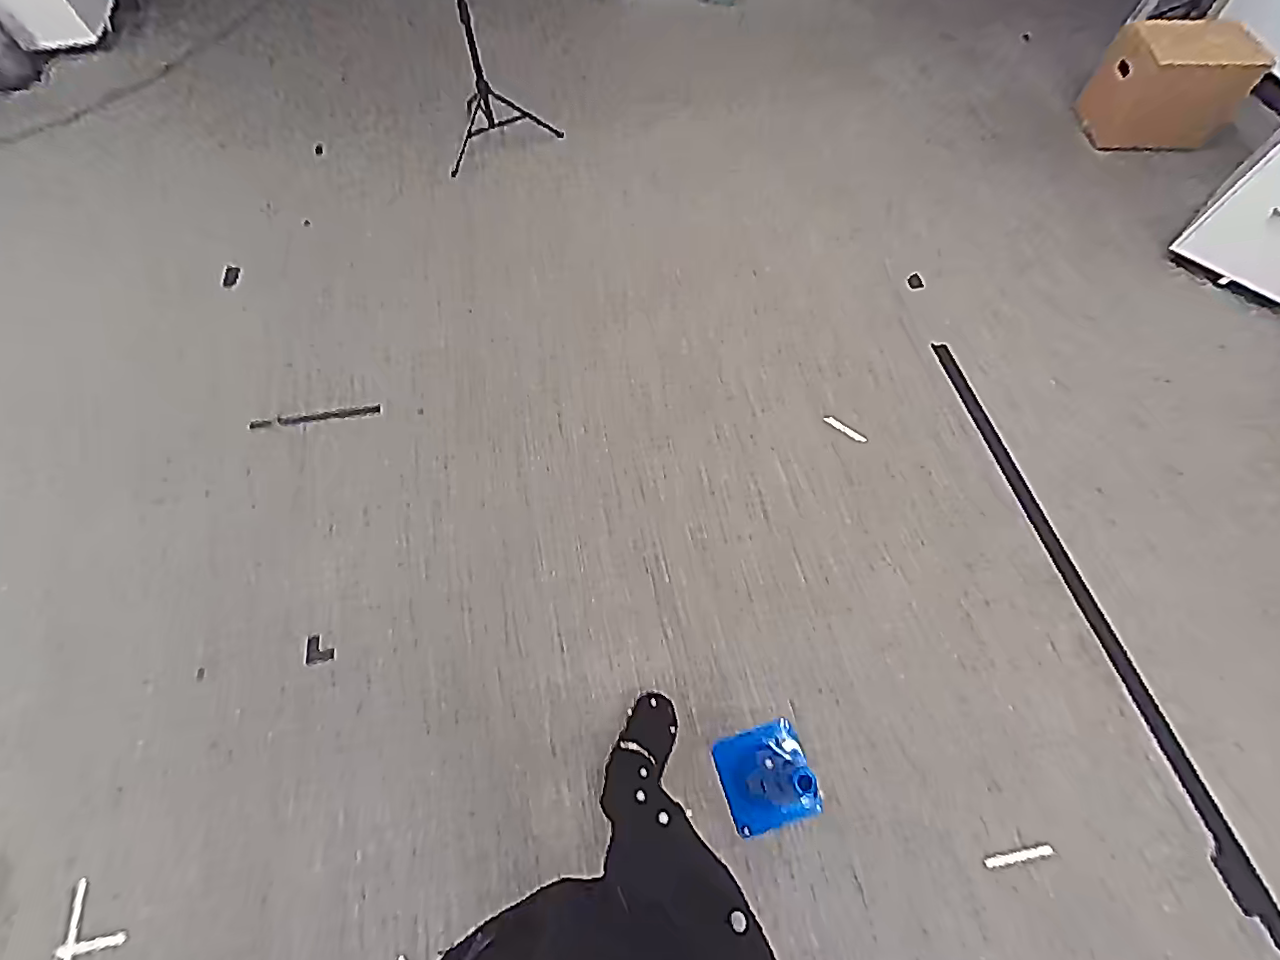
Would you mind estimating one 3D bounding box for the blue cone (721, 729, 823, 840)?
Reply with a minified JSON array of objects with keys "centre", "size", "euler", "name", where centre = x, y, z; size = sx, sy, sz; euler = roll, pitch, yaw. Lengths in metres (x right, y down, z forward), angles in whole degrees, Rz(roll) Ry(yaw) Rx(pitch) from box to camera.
[{"centre":[0.287,0.601,1.066],"size":[0.193,0.380,0.192],"euler":[-14,64,-6],"name":"blue cone"}]
